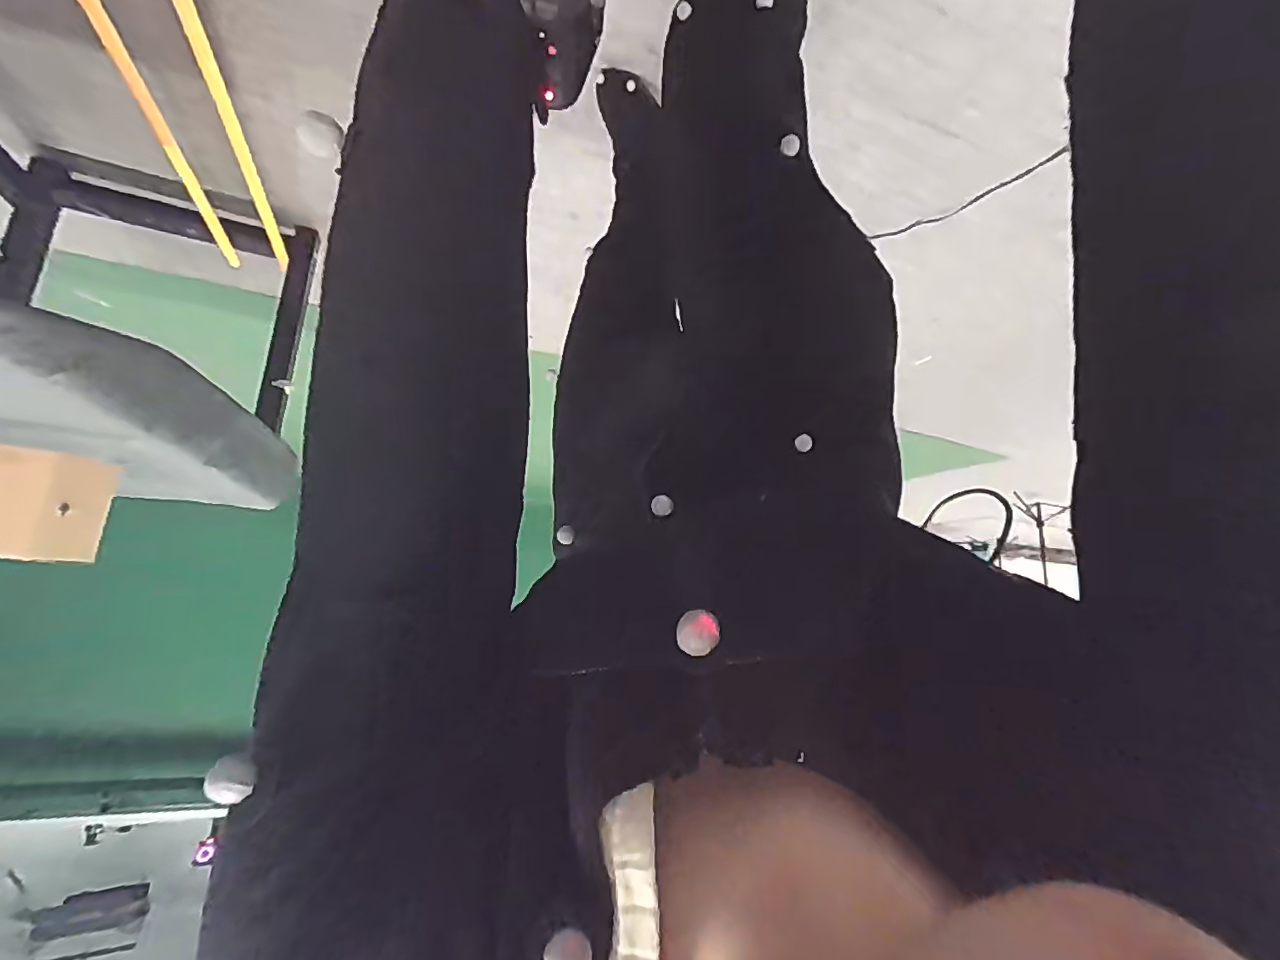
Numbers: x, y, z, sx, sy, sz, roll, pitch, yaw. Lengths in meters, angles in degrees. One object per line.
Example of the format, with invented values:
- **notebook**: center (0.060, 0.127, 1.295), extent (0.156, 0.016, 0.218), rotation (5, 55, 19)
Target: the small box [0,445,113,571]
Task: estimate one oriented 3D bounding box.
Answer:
- **small box**: center (-0.943, 0.040, 0.800), extent (0.168, 0.176, 0.179), rotation (10, 166, -21)
